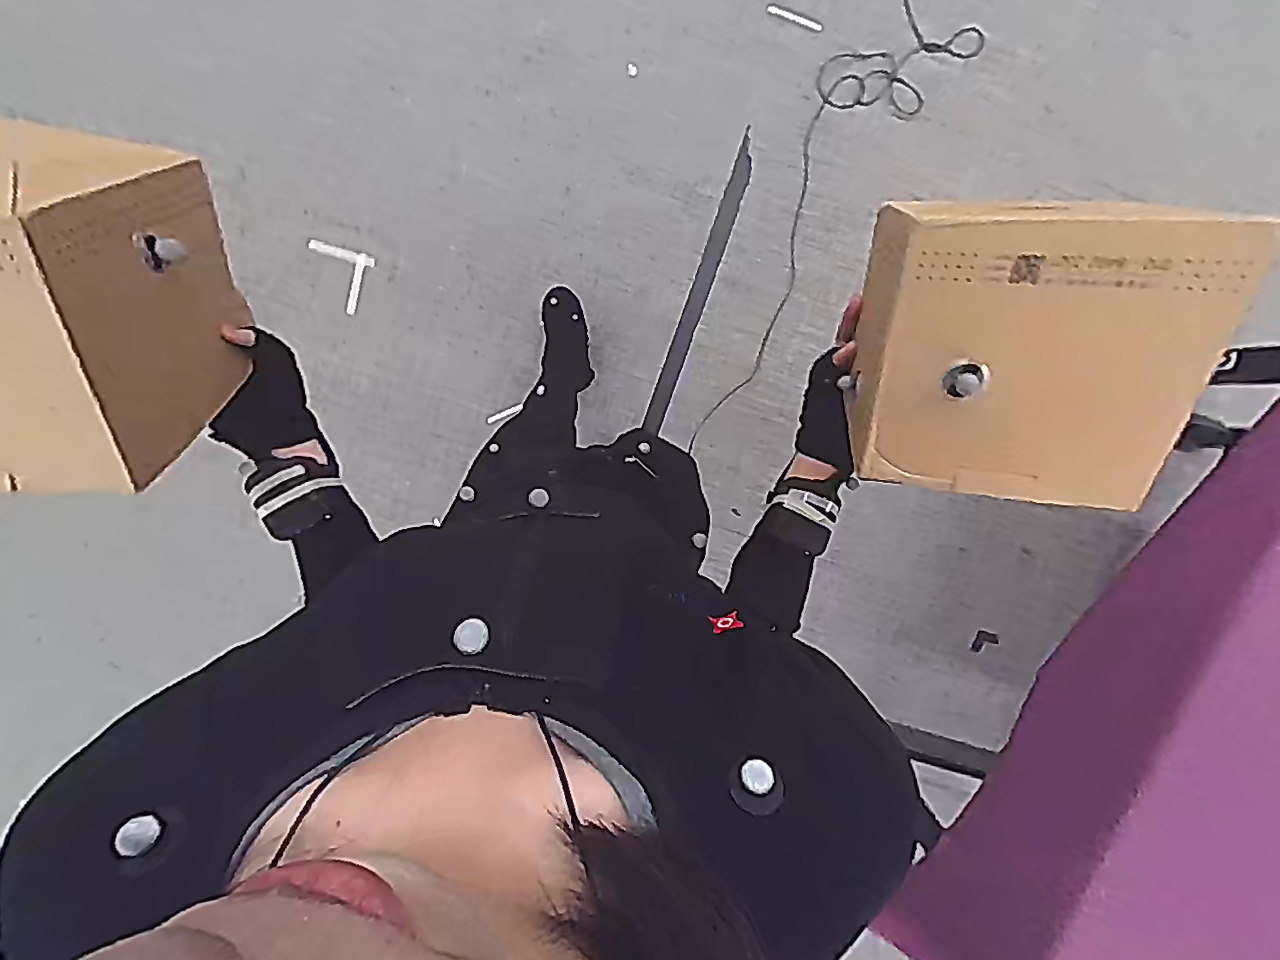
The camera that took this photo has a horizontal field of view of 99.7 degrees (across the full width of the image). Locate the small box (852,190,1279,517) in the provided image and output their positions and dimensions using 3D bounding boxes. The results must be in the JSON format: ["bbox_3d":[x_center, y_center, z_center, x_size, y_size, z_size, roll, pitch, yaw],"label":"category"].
[{"bbox_3d":[0.253,-0.100,0.370,0.168,0.179,0.176,10,121,13],"label":"small box"}]

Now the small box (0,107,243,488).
[{"bbox_3d":[-0.379,-0.116,0.320,0.168,0.179,0.176,4,126,-15],"label":"small box"}]
